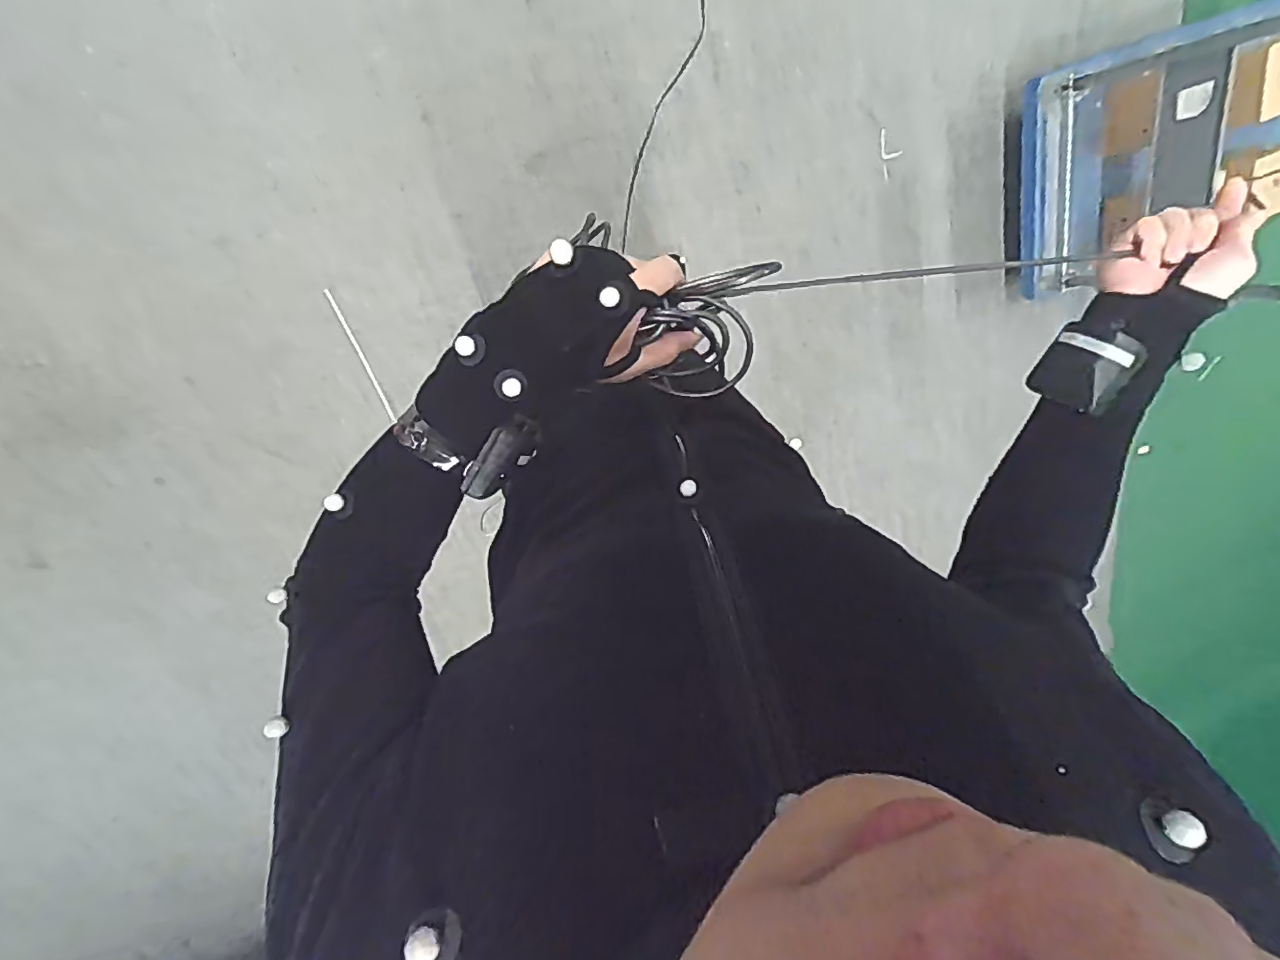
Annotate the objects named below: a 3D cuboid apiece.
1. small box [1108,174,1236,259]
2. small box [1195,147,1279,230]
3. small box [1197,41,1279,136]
[{"bbox_3d":[1.436,-0.711,1.469,0.179,0.176,0.168,-19,114,-5],"label":"small box"},{"bbox_3d":[1.688,-0.805,1.492,0.179,0.176,0.168,-24,113,-3],"label":"small box"},{"bbox_3d":[1.599,-1.017,1.390,0.179,0.176,0.168,-24,115,-4],"label":"small box"}]
